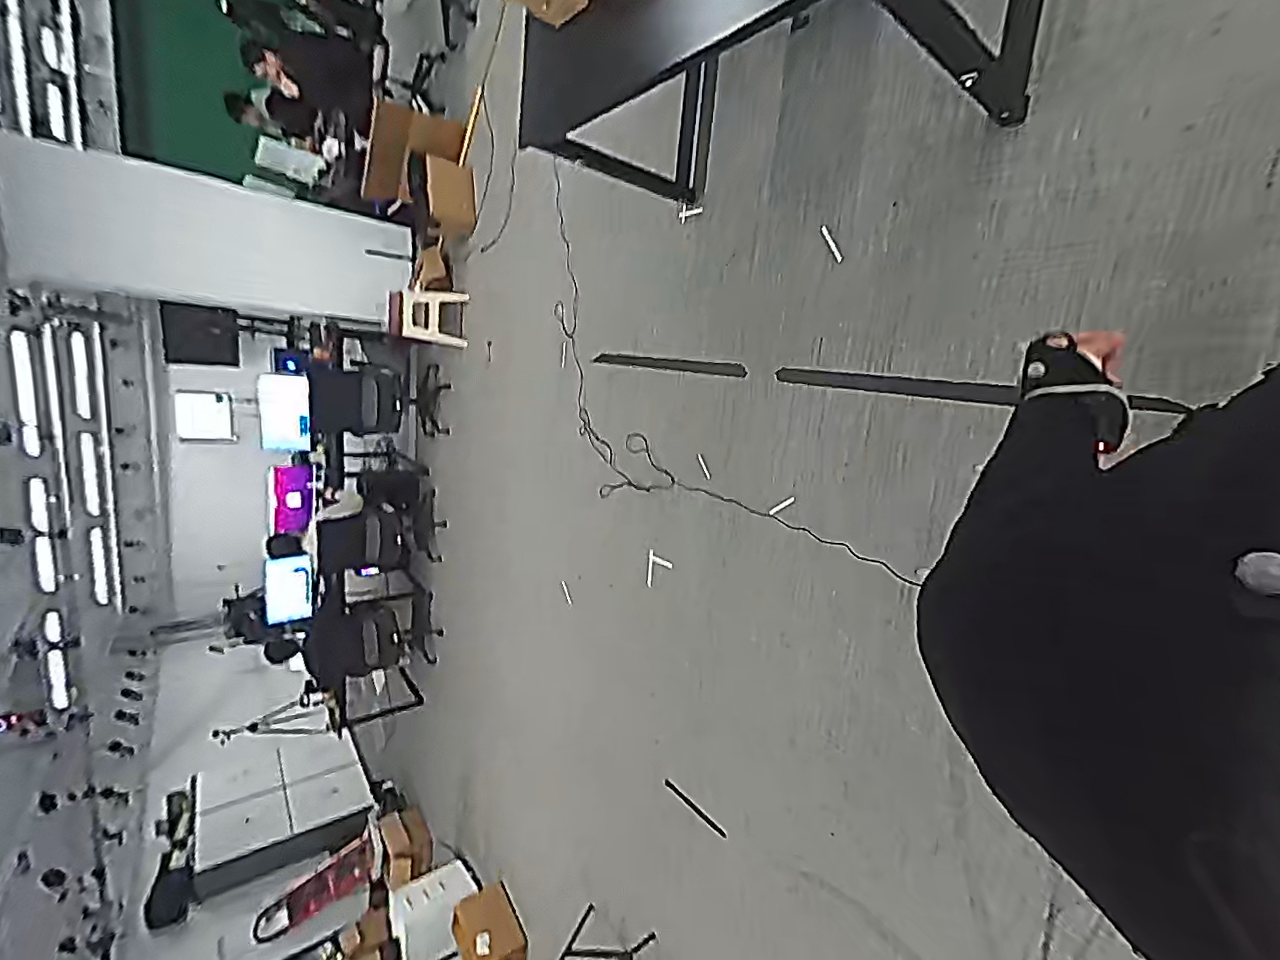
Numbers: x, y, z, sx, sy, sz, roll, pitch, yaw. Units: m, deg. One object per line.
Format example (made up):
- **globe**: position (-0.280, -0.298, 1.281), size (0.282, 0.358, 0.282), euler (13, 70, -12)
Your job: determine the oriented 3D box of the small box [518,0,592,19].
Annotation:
- **small box**: position (-0.218, -1.341, 1.395), size (0.168, 0.176, 0.179), euler (23, 110, 48)
